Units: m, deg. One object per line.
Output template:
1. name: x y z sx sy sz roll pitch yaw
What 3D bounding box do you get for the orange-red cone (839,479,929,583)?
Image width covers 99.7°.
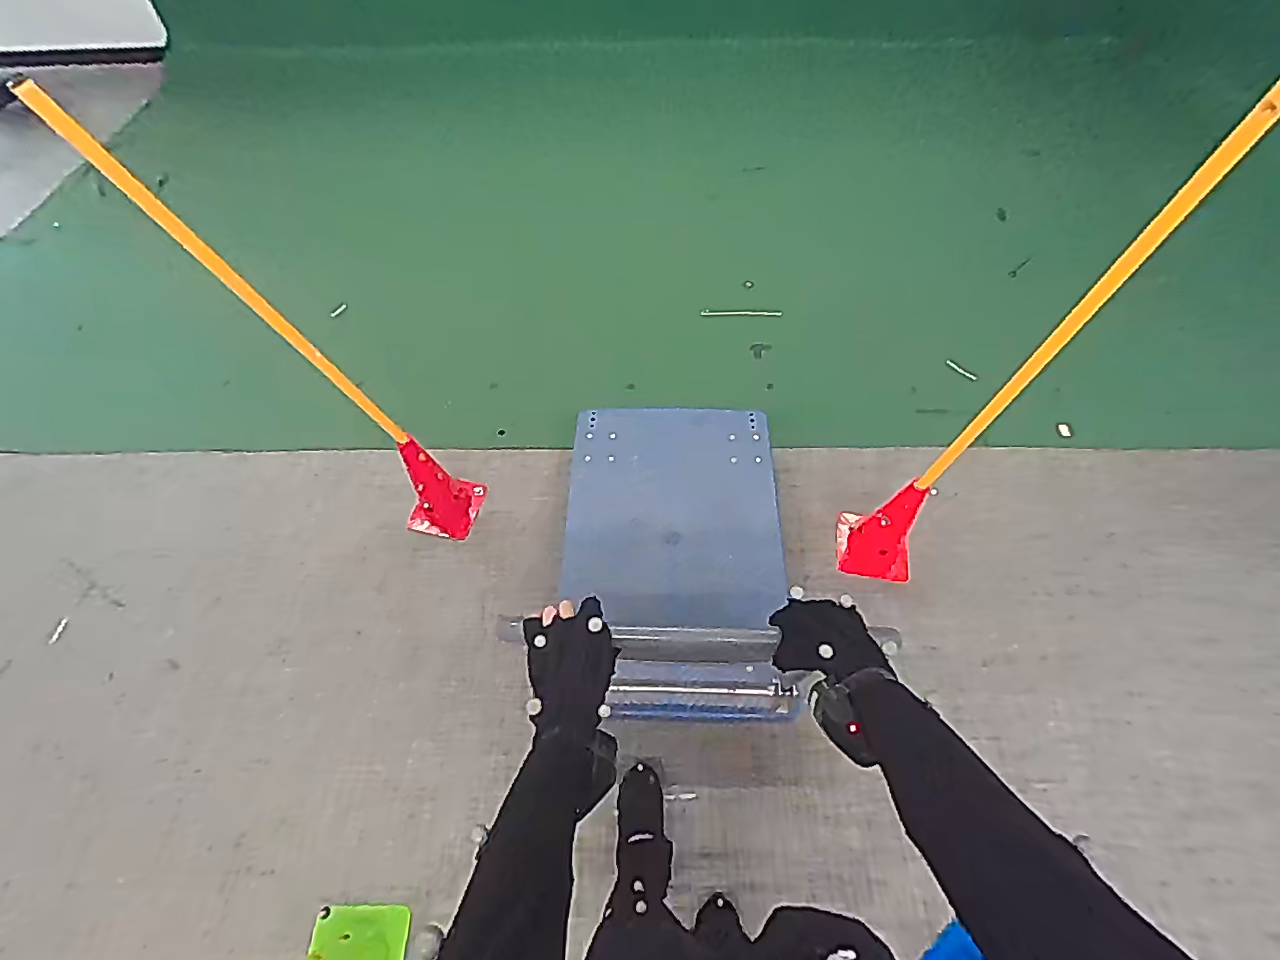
1. orange-red cone: 0.679 0.108 1.438 0.198 0.360 0.199 9 59 8
